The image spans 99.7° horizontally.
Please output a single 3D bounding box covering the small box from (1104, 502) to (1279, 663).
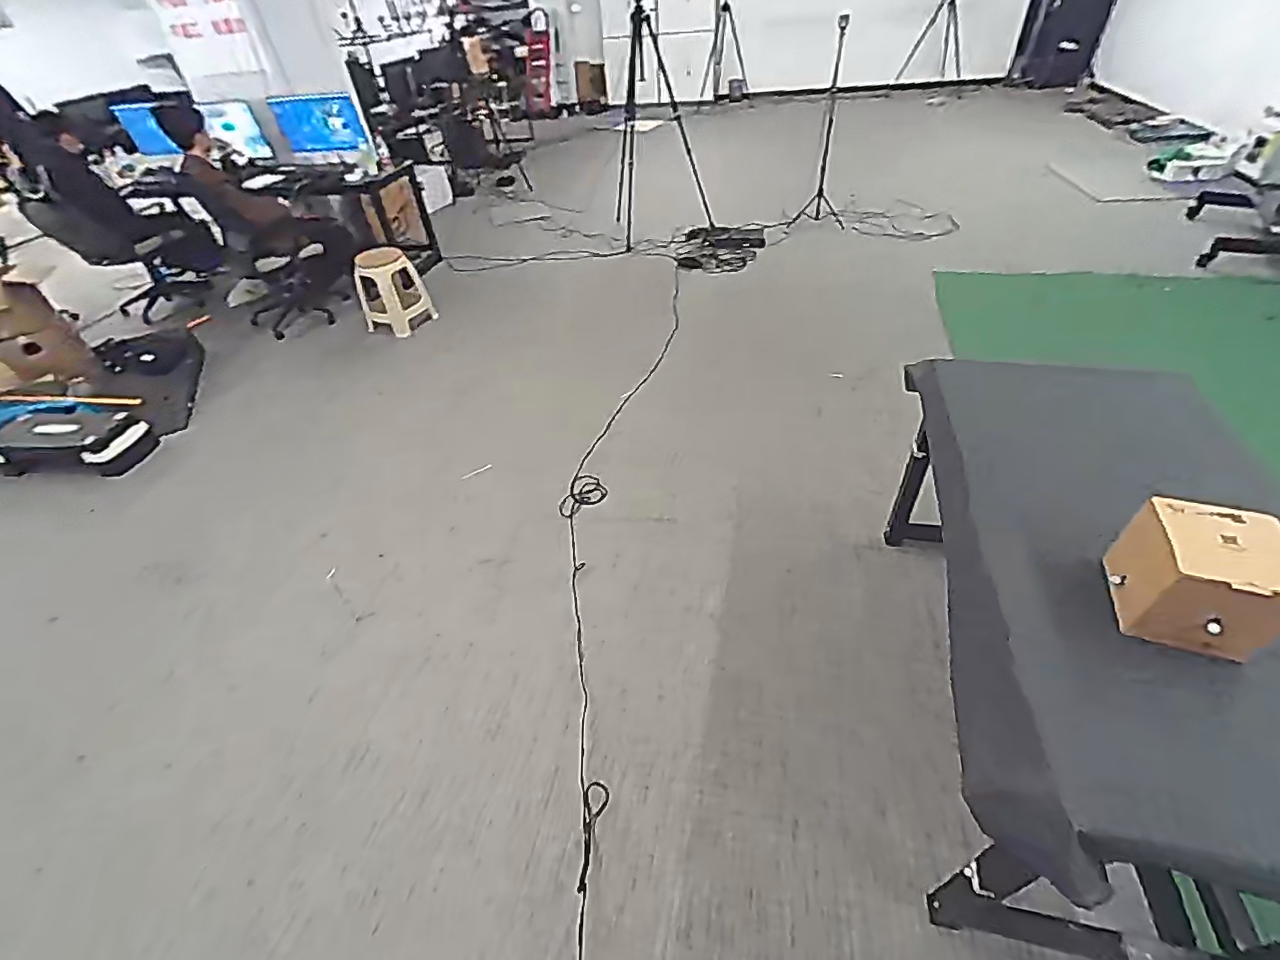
[{"bbox_3d":[0.906,0.168,0.882,0.168,0.176,0.179,12,46,19],"label":"small box"}]
